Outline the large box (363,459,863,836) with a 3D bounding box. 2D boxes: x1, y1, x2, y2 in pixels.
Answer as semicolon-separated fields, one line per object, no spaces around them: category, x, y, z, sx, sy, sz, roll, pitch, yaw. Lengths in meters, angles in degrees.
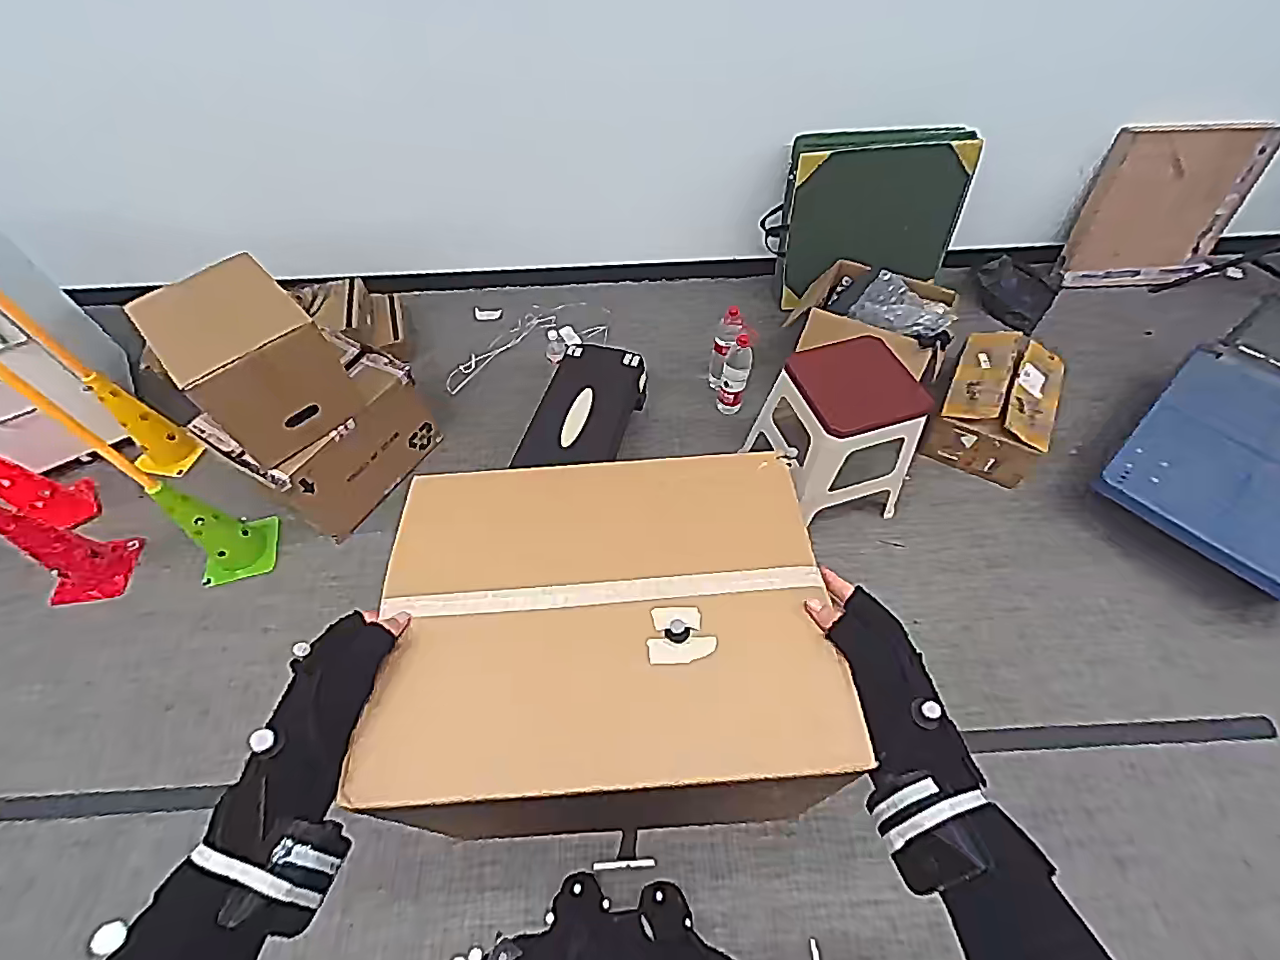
large box;-0.026;0.202;0.629;0.408;0.320;0.320;-4;52;0
